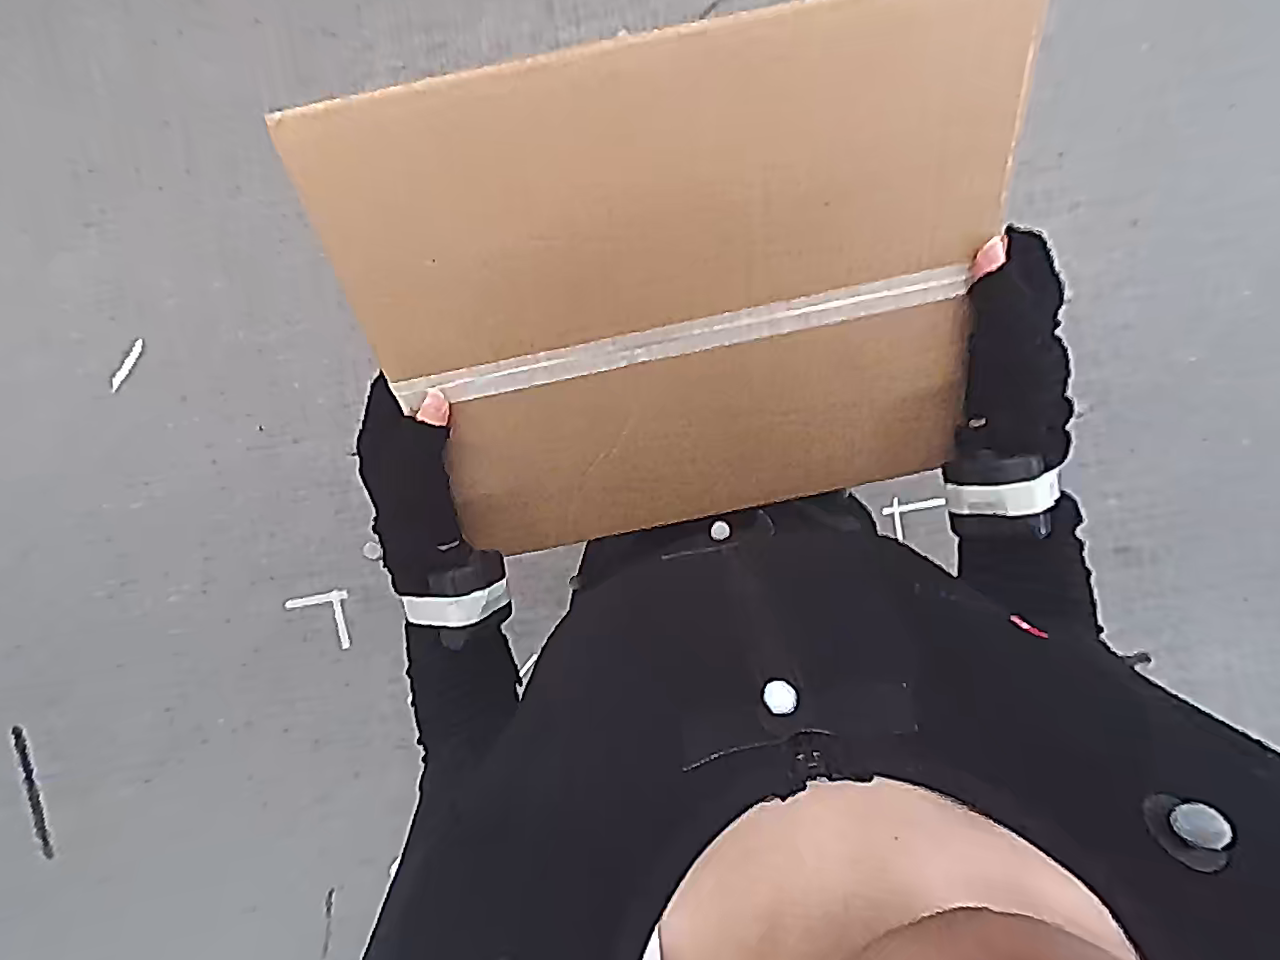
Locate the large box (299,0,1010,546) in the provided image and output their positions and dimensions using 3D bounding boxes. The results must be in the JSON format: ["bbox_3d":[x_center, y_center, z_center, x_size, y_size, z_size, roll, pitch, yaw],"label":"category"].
[{"bbox_3d":[0.017,-0.190,0.496,0.408,0.320,0.320,-12,125,1],"label":"large box"}]
